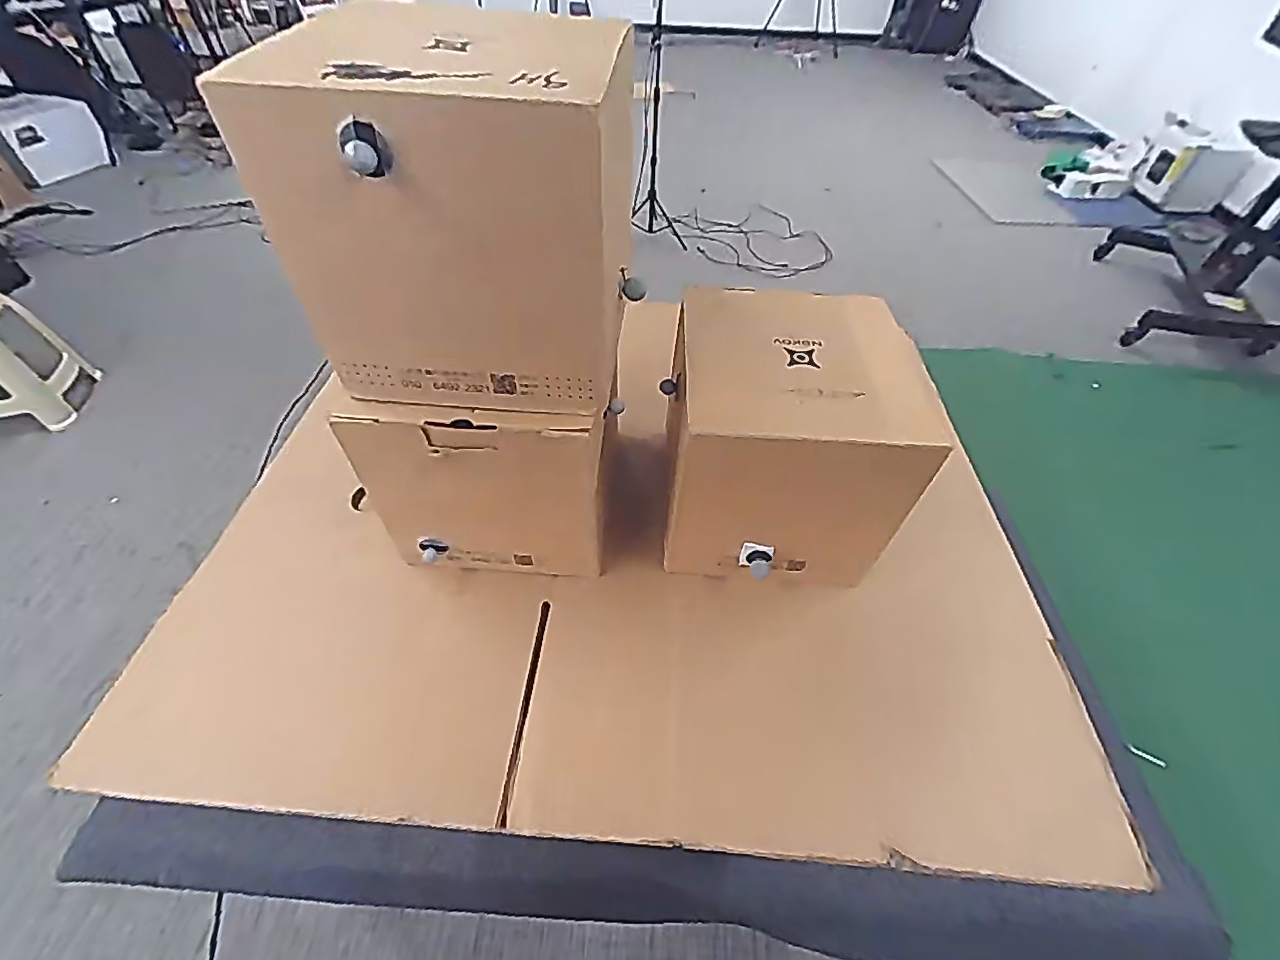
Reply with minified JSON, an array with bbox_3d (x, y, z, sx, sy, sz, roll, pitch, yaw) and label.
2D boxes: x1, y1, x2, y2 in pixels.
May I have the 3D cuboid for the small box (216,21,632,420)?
[{"bbox_3d":[-0.096,-0.162,0.340,0.168,0.176,0.179,4,48,2],"label":"small box"}]
